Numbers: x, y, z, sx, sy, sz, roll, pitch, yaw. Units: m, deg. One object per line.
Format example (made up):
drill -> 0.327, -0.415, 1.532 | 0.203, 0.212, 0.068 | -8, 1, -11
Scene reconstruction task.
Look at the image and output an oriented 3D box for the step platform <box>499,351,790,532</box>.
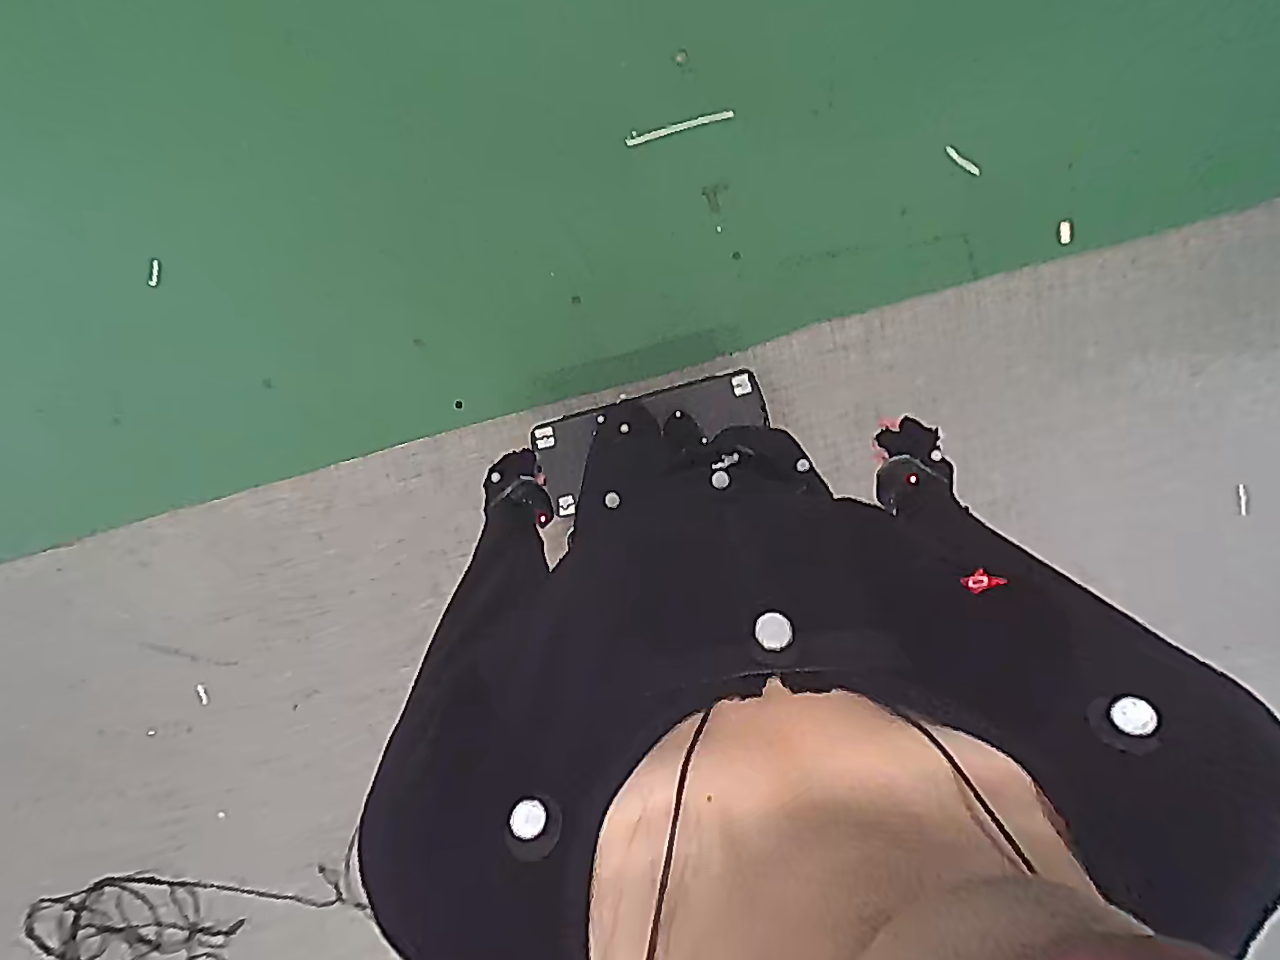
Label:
step platform -> 0.011, -0.102, 1.368 | 0.684, 0.204, 0.286 | -16, 99, 3
